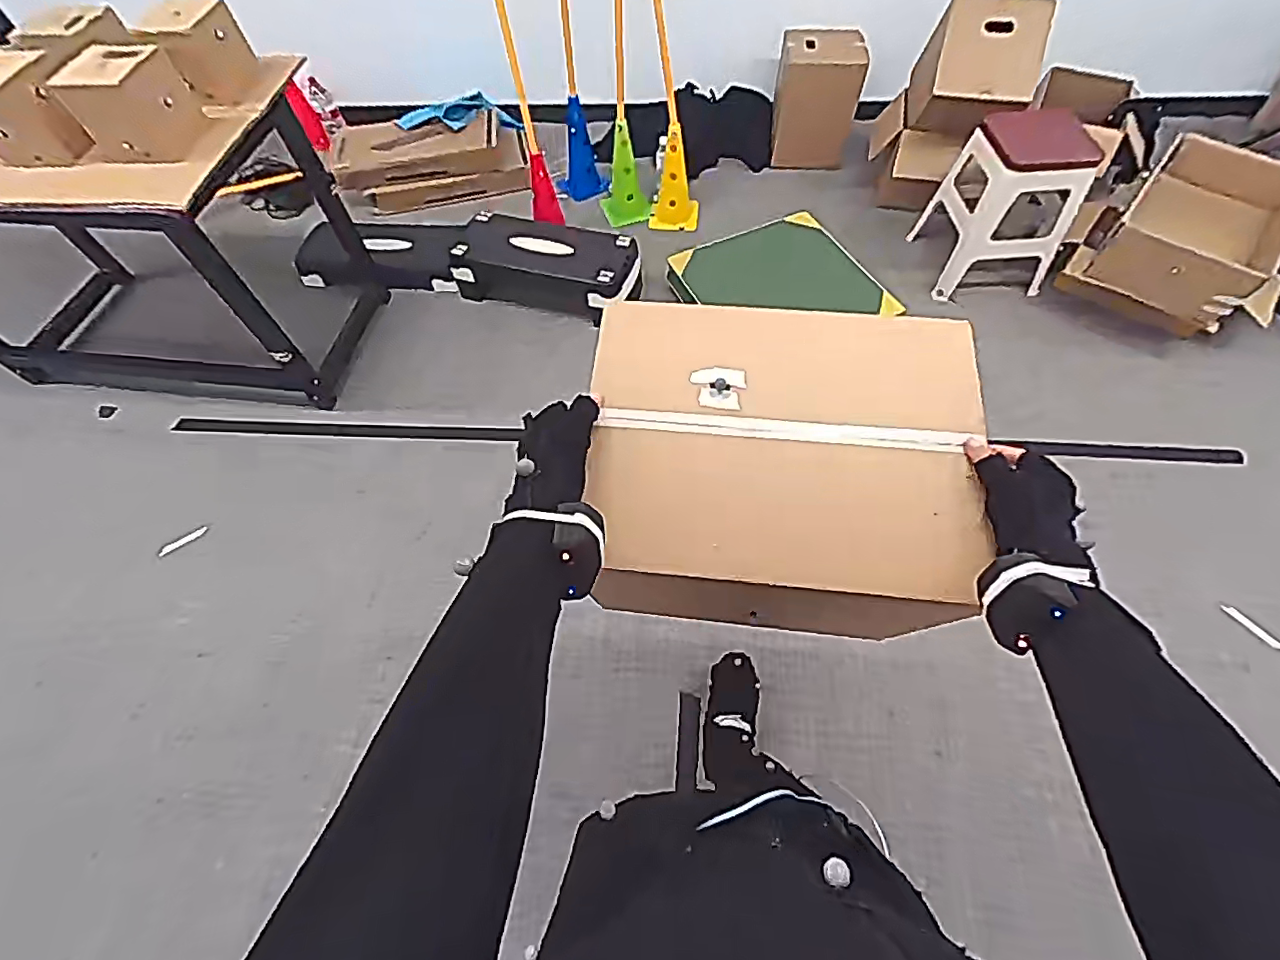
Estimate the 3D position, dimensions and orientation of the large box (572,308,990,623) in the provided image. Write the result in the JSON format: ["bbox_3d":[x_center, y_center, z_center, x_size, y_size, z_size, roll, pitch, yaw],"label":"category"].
[{"bbox_3d":[0.156,0.002,0.709,0.408,0.320,0.320,5,68,7],"label":"large box"}]
